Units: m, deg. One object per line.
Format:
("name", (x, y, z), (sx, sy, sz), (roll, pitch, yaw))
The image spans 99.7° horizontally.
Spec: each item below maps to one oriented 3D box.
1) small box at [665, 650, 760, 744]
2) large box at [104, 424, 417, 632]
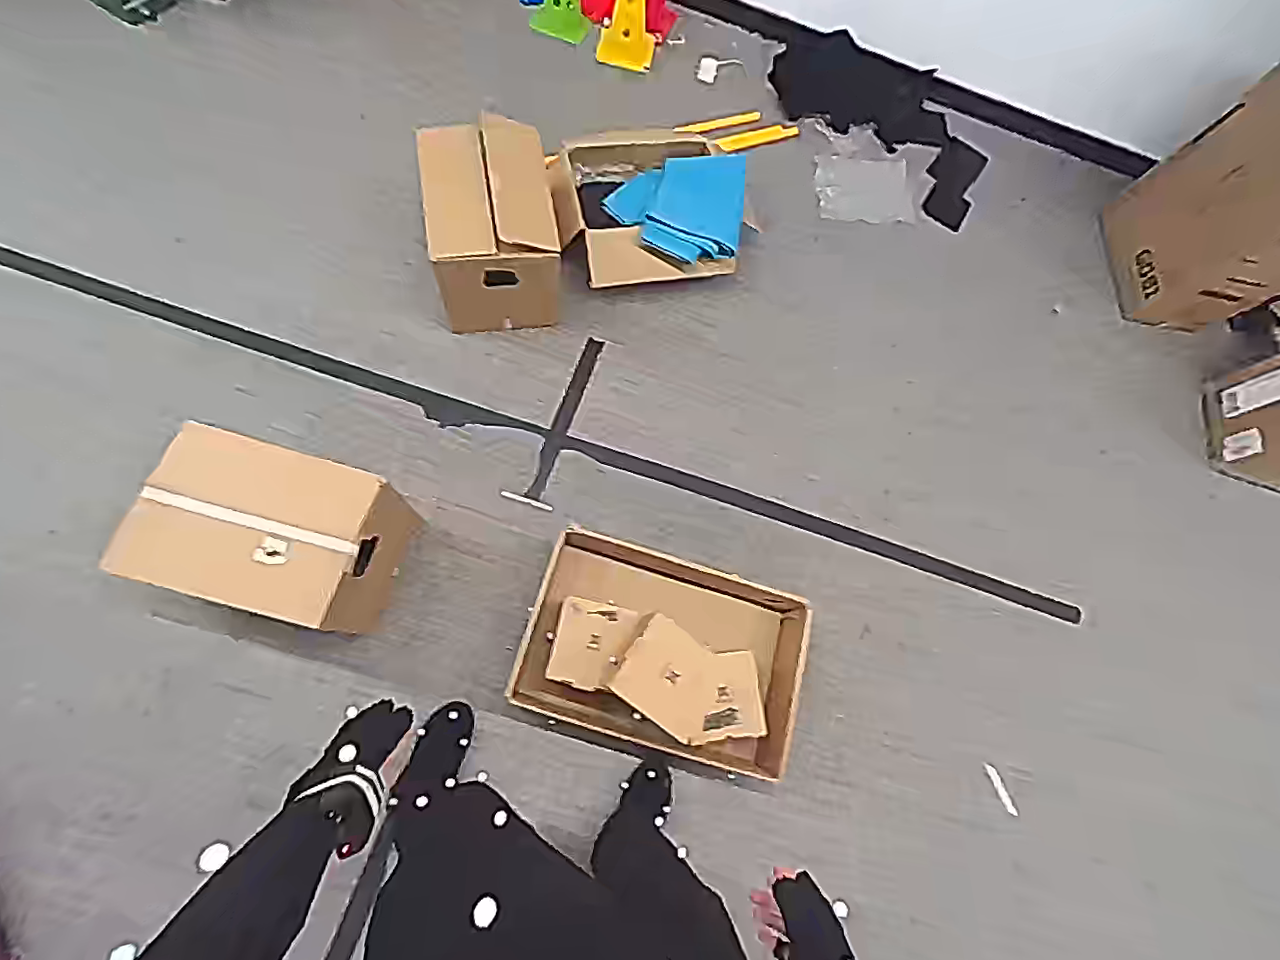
("small box", (0.157, 0.485, 1.228), (0.168, 0.176, 0.179), (-3, 71, -9))
("large box", (-0.766, 0.123, 1.174), (0.408, 0.320, 0.320), (16, 70, -4))
